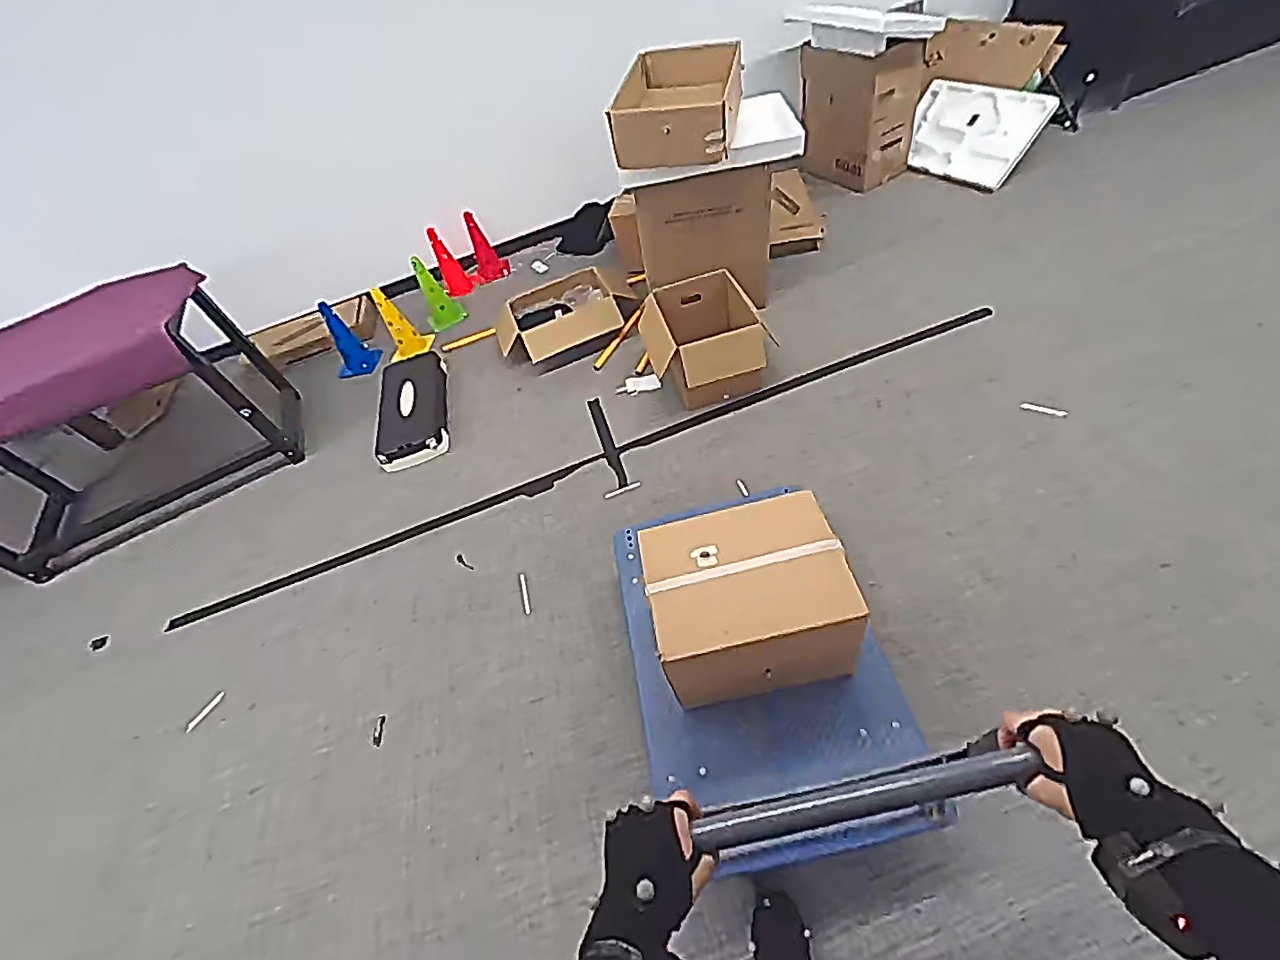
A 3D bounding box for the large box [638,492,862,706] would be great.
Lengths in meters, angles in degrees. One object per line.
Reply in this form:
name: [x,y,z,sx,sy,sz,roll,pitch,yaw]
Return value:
large box: [0.242,0.282,1.246,0.408,0.320,0.320,-15,48,4]
